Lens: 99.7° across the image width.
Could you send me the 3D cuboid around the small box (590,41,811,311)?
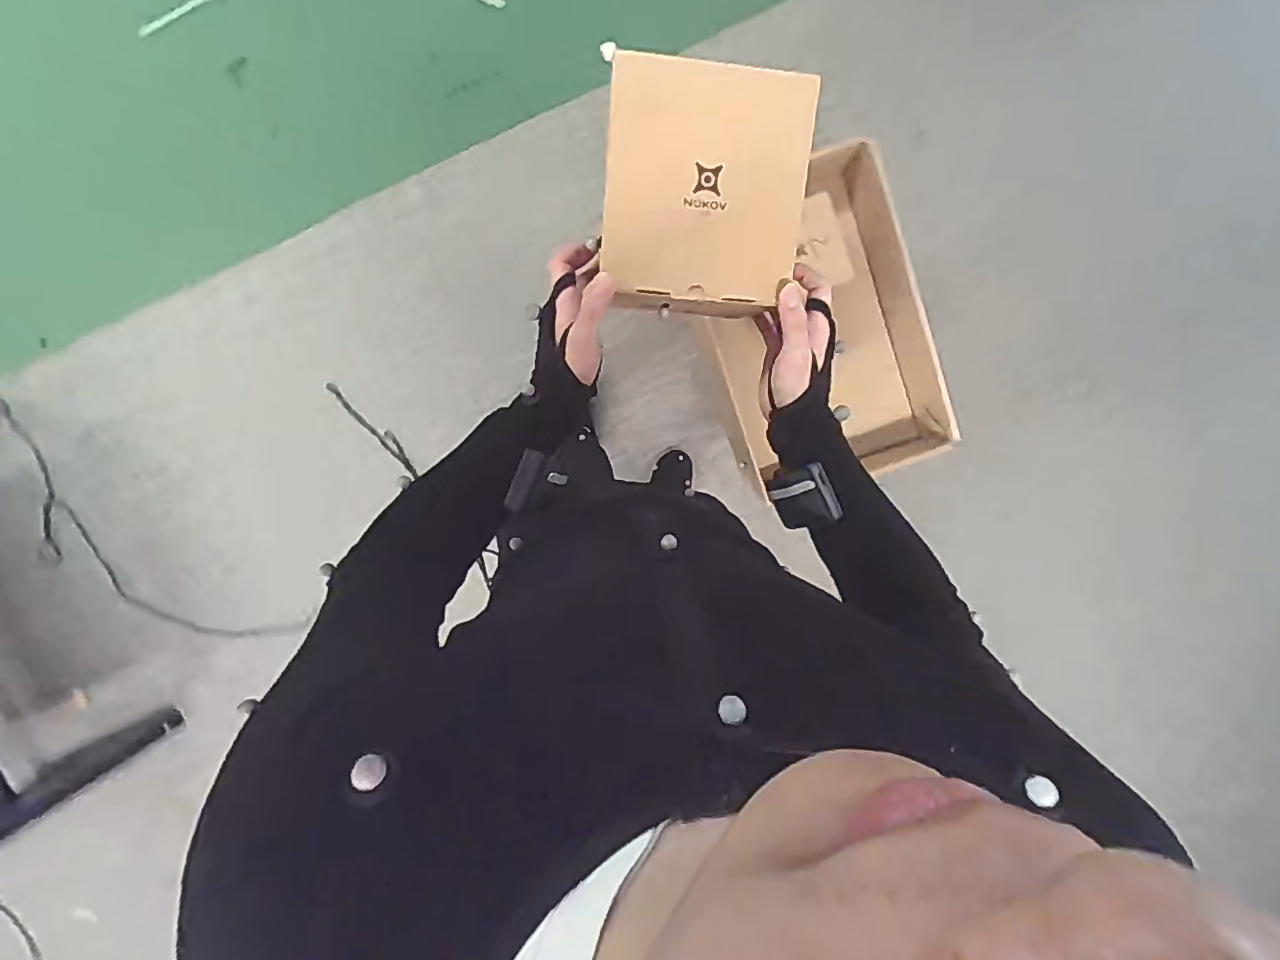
[{"bbox_3d":[0.040,-0.260,0.508,0.168,0.176,0.179,2,105,-6],"label":"small box"}]
